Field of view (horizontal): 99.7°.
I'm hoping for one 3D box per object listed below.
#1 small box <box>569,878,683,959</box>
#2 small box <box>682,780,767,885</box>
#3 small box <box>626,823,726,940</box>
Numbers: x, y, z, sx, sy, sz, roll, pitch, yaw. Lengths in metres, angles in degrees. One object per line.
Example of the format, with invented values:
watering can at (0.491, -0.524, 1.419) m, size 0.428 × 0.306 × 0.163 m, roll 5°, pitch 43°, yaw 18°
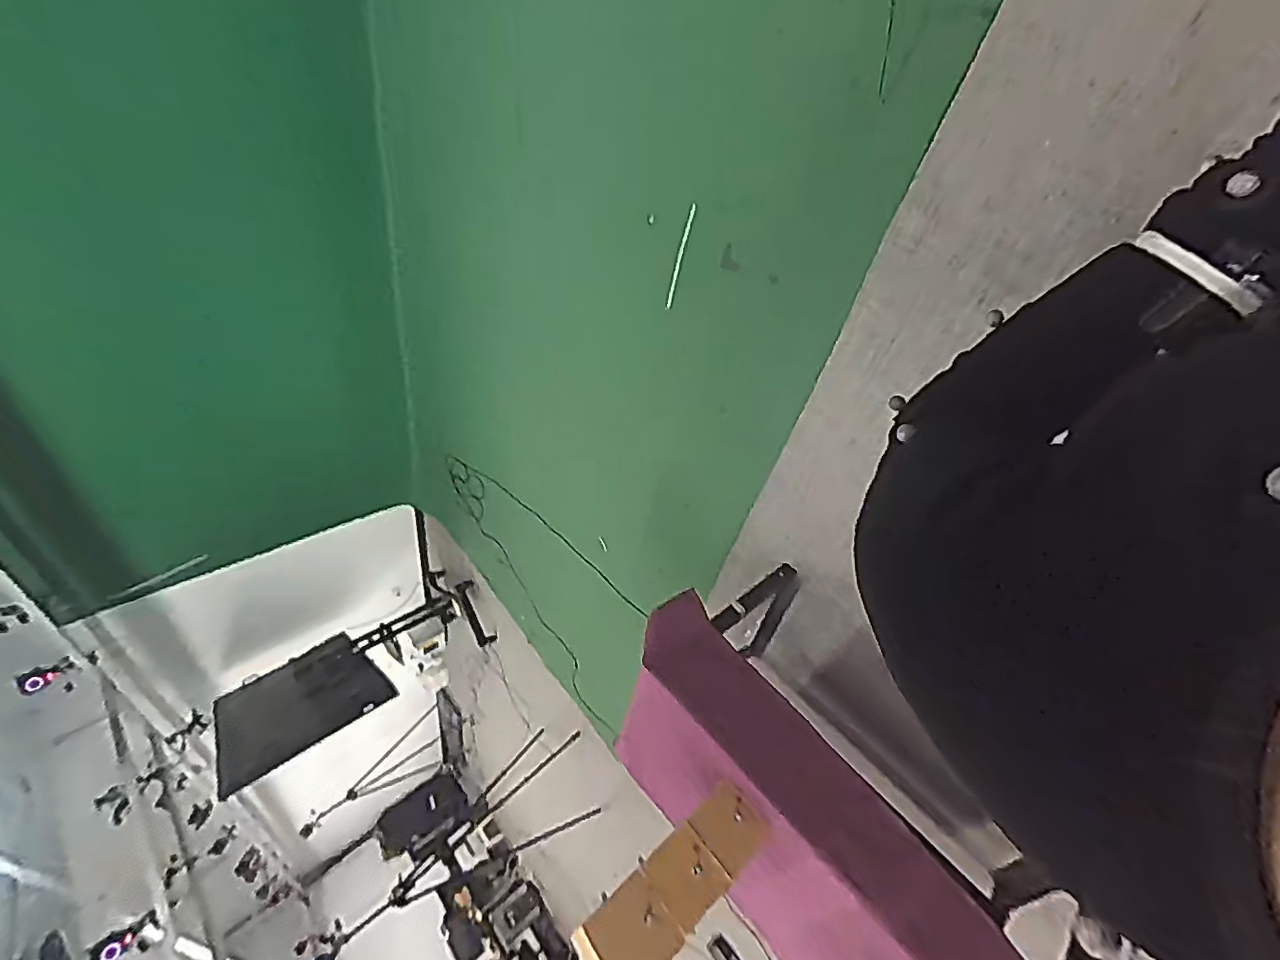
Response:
small box at (-0.034, 1.046, 1.227) m, size 0.179 × 0.176 × 0.168 m, roll 45°, pitch 139°, yaw 27°
small box at (0.205, 0.938, 1.422) m, size 0.168 × 0.176 × 0.179 m, roll 42°, pitch 137°, yaw 27°
small box at (0.085, 0.991, 1.327) m, size 0.168 × 0.176 × 0.179 m, roll 43°, pitch 137°, yaw 27°
